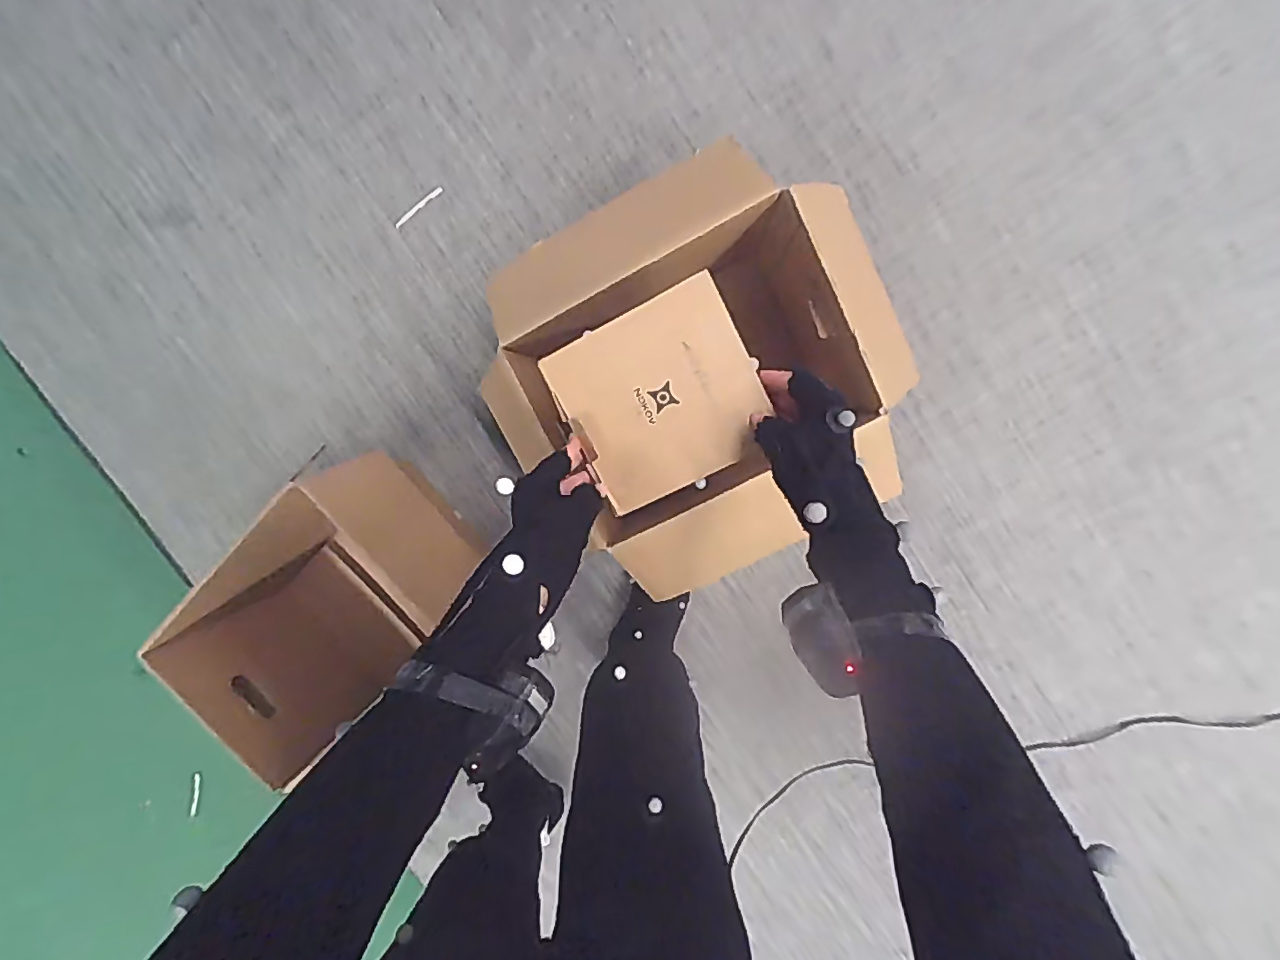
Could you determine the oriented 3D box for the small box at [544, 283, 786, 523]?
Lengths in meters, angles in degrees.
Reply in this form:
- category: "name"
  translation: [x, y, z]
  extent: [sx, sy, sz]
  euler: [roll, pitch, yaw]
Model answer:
- category: "small box"
  translation: [0.030, -0.078, 0.573]
  extent: [0.179, 0.176, 0.168]
  euler: [-28, 97, 9]
